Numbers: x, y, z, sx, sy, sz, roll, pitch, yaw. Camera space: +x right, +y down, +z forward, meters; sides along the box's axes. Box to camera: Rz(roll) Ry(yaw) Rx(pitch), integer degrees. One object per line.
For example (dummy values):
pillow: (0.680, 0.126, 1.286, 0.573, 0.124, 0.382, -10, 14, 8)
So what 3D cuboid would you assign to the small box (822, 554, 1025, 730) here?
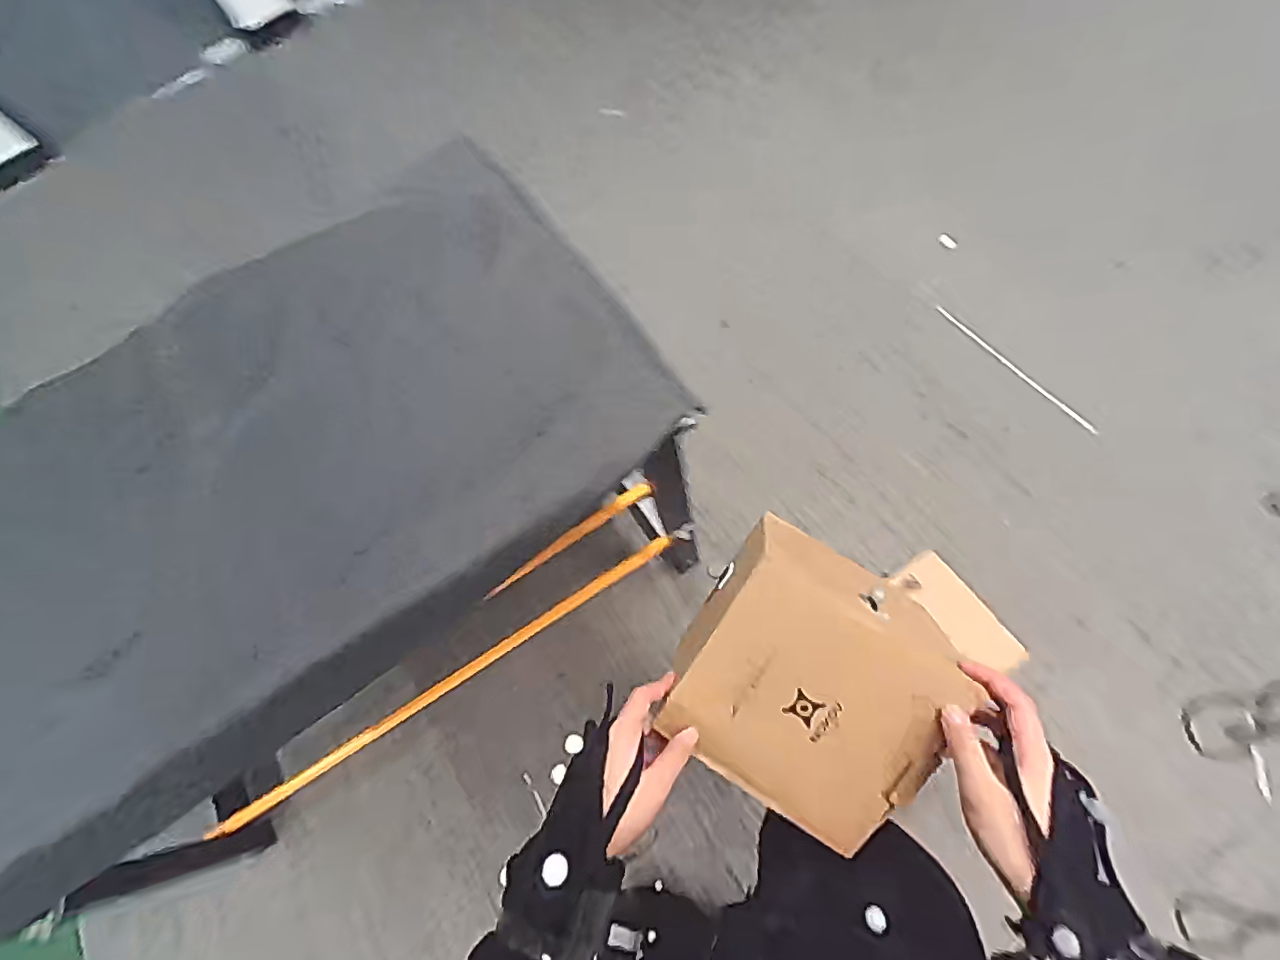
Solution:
small box: (0.399, 0.238, 0.798, 0.168, 0.176, 0.179, -32, 68, -7)
